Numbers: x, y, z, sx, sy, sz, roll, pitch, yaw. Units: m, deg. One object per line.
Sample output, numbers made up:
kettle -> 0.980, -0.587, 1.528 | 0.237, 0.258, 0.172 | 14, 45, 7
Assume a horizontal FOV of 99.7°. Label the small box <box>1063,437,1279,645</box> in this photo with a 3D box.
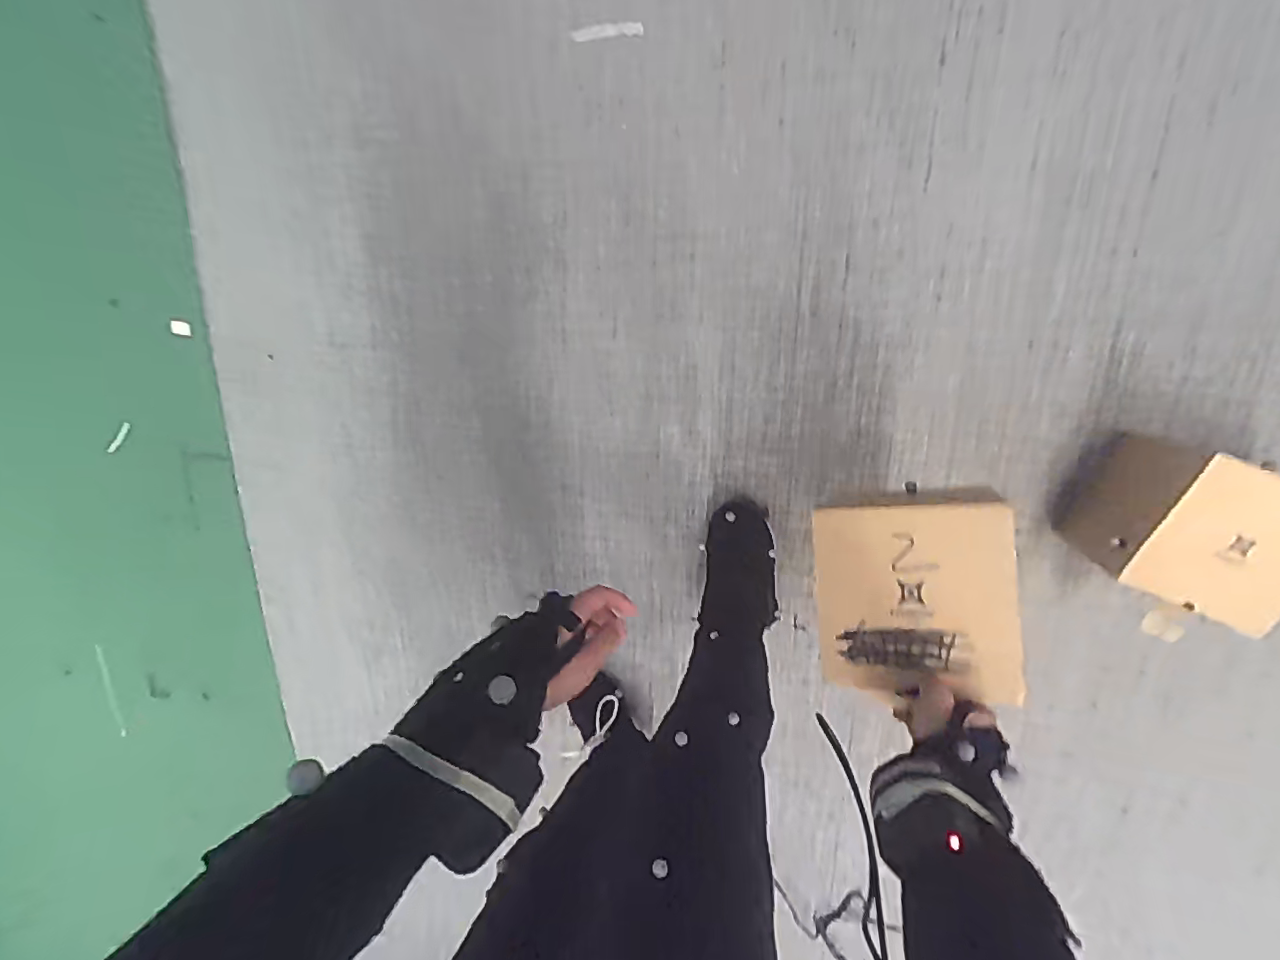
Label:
small box -> 0.688, 0.062, 0.678 | 0.168, 0.176, 0.179 | 24, 111, 8
